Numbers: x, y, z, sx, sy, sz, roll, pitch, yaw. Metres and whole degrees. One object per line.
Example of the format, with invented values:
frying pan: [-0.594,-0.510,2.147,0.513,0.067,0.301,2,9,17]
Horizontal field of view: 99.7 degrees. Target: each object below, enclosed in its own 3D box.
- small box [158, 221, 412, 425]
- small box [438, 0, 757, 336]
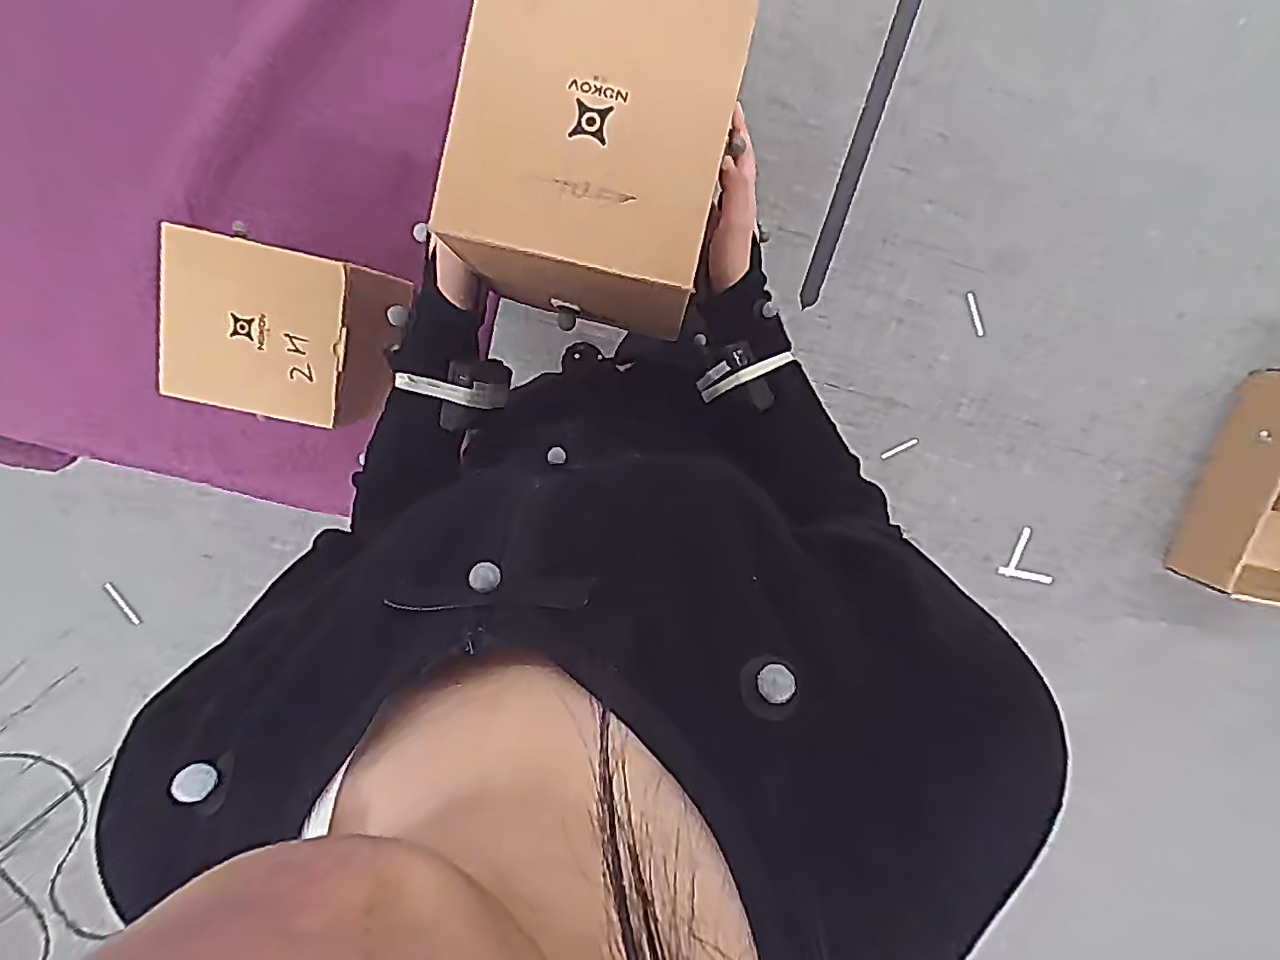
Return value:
small box: [-0.385,-0.169,0.611,0.179,0.176,0.168,12,103,-5]
small box: [-0.026,-0.225,0.407,0.168,0.176,0.179,13,94,0]
